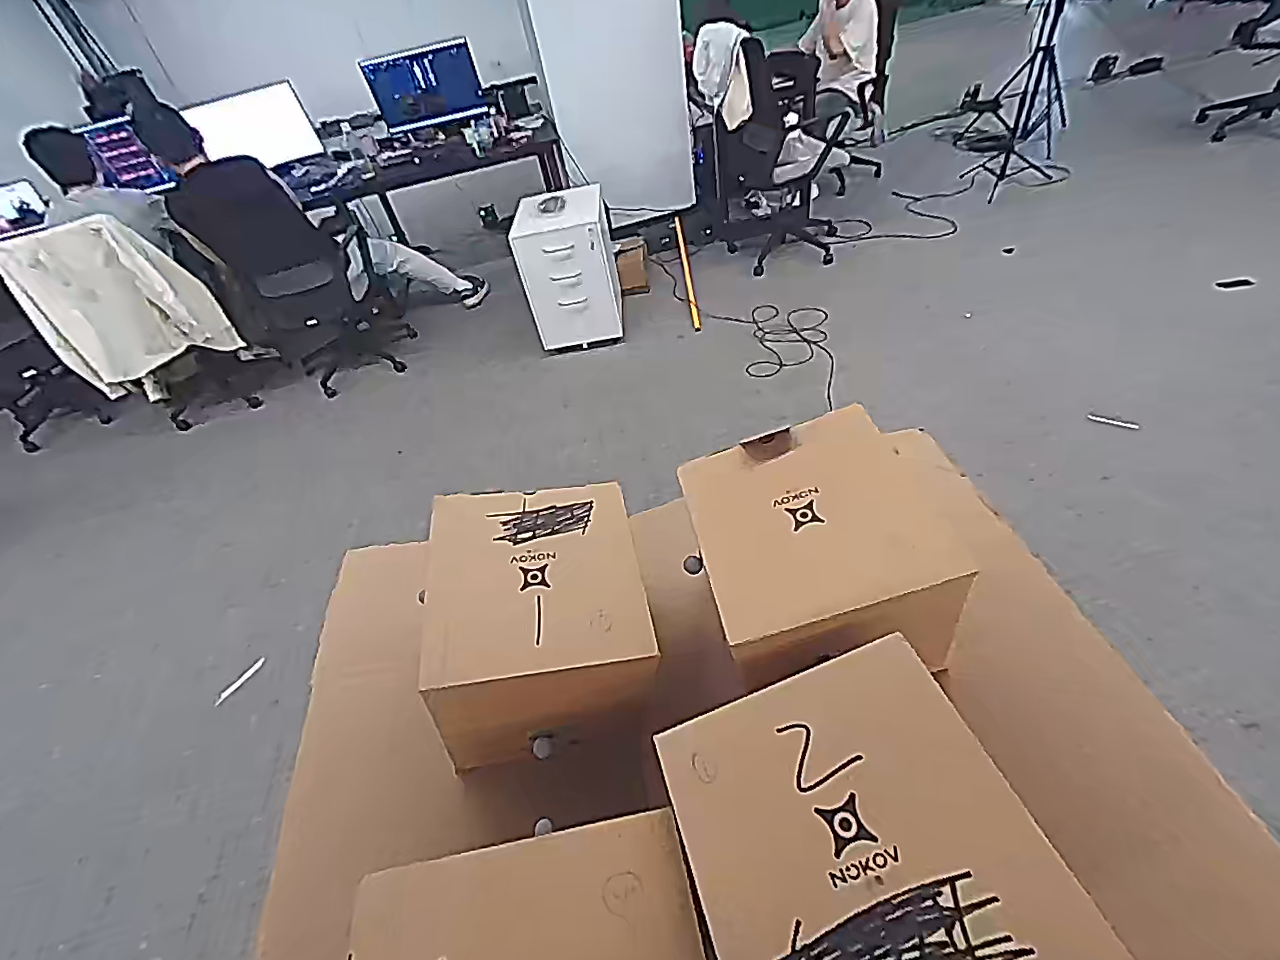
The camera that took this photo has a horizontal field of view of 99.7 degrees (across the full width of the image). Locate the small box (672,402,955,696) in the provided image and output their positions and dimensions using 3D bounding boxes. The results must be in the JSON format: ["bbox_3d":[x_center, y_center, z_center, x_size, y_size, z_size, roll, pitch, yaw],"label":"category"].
[{"bbox_3d":[0.143,0.069,0.474,0.168,0.176,0.179,-19,45,6],"label":"small box"}]
